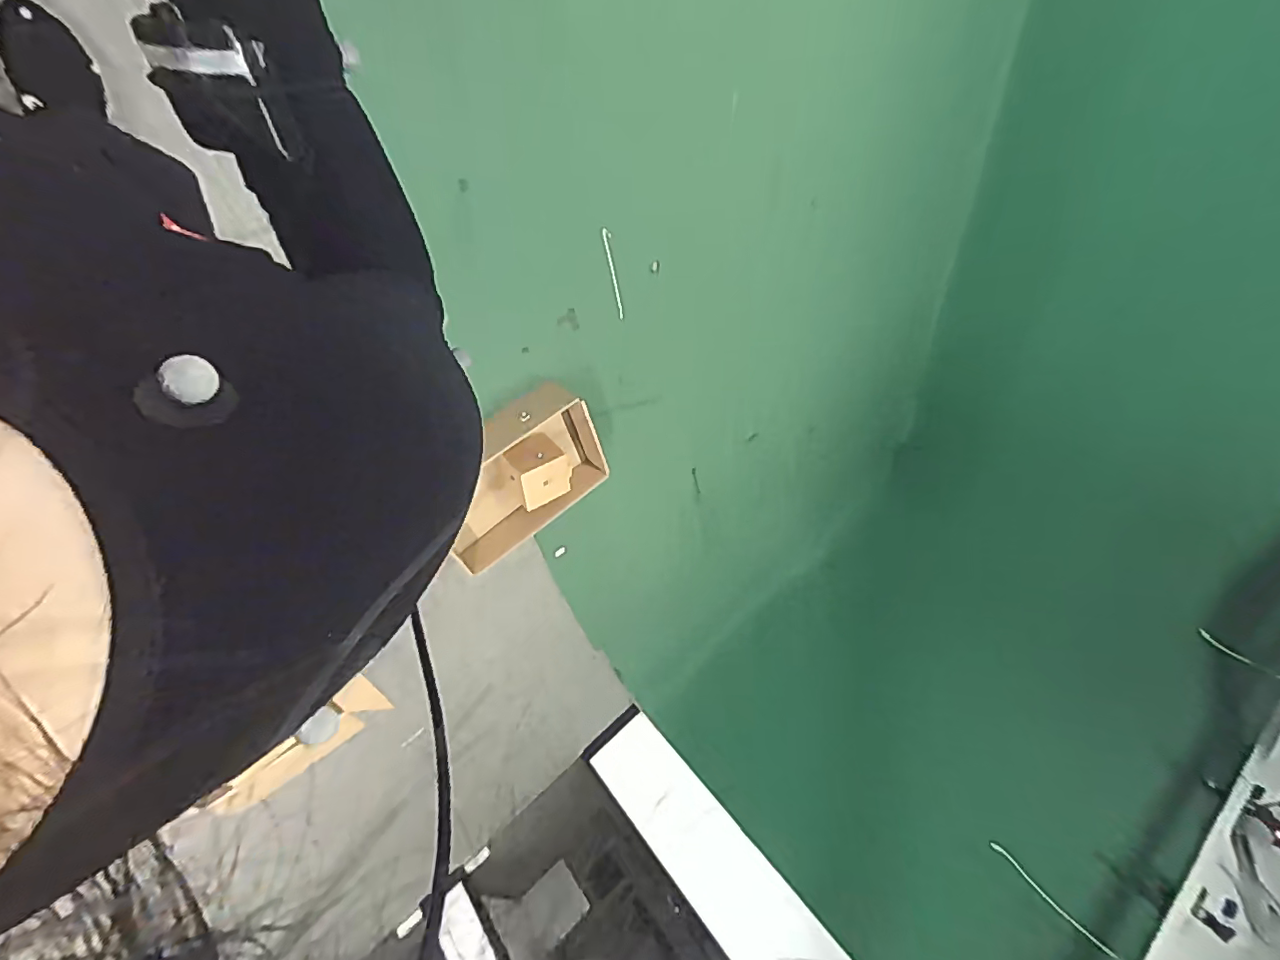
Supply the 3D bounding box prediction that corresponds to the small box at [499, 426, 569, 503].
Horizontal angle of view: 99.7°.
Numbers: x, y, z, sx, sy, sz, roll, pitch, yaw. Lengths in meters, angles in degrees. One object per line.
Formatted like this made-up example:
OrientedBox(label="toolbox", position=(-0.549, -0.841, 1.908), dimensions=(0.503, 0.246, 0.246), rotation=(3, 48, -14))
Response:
OrientedBox(label="small box", position=(-0.367, -0.058, 1.848), dimensions=(0.179, 0.176, 0.168), rotation=(-28, 139, -27))
